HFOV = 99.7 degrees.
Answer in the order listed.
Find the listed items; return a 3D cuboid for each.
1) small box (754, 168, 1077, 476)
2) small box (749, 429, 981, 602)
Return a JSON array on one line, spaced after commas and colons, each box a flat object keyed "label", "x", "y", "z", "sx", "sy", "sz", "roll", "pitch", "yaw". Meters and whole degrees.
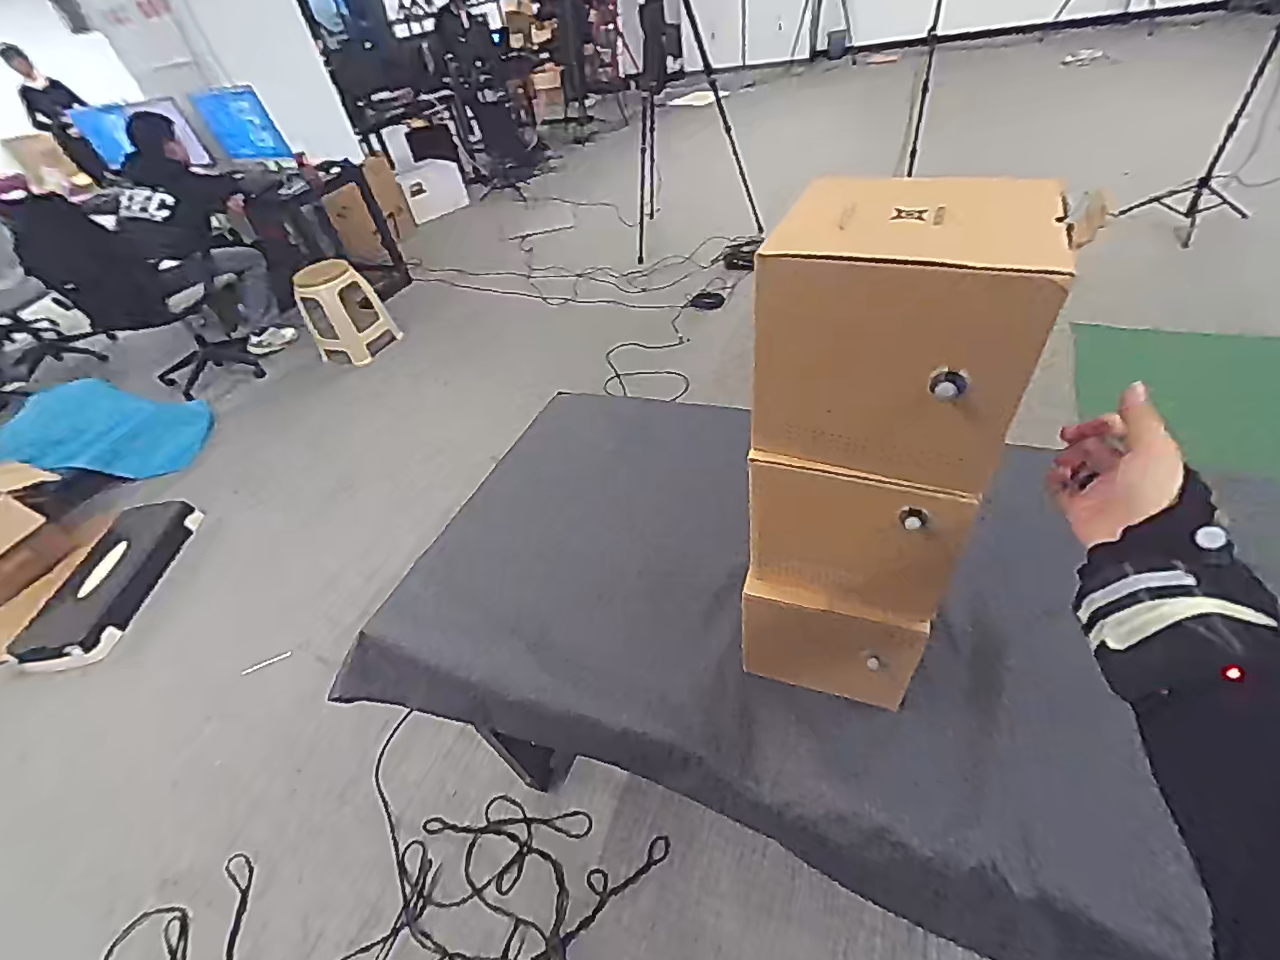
[{"label": "small box", "x": 0.196, "y": -0.124, "z": 0.420, "sx": 0.179, "sy": 0.176, "sz": 0.168, "roll": 13, "pitch": 47, "yaw": 23}, {"label": "small box", "x": 0.211, "y": -0.005, "z": 0.530, "sx": 0.179, "sy": 0.176, "sz": 0.168, "roll": 11, "pitch": 47, "yaw": 21}]
